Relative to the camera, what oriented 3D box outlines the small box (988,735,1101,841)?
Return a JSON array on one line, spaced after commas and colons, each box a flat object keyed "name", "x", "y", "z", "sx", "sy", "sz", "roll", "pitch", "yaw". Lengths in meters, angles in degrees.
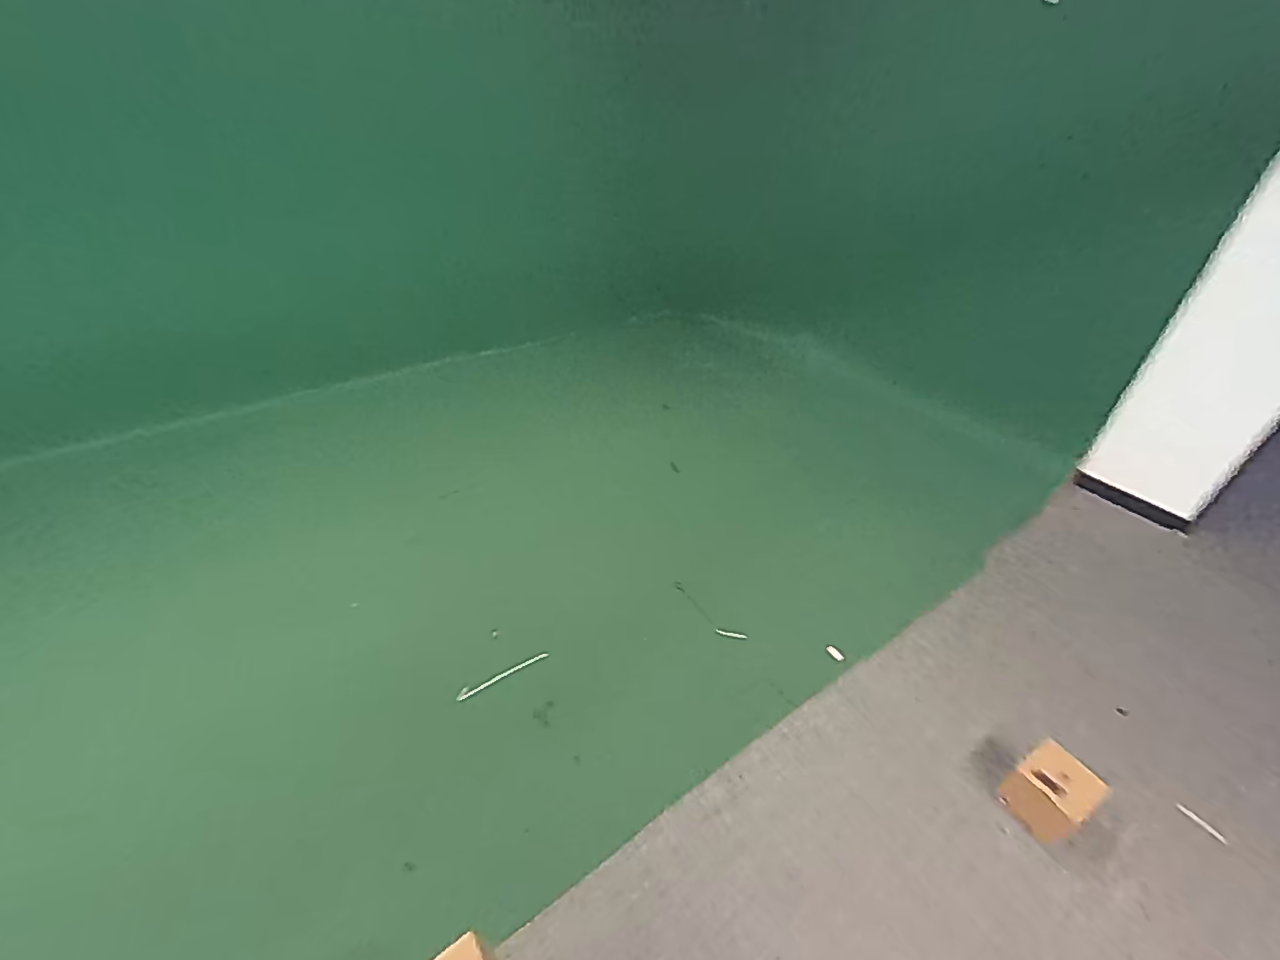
[{"name": "small box", "x": 1.120, "y": 0.865, "z": 1.514, "sx": 0.179, "sy": 0.176, "sz": 0.168, "roll": -18, "pitch": 43, "yaw": -25}]
